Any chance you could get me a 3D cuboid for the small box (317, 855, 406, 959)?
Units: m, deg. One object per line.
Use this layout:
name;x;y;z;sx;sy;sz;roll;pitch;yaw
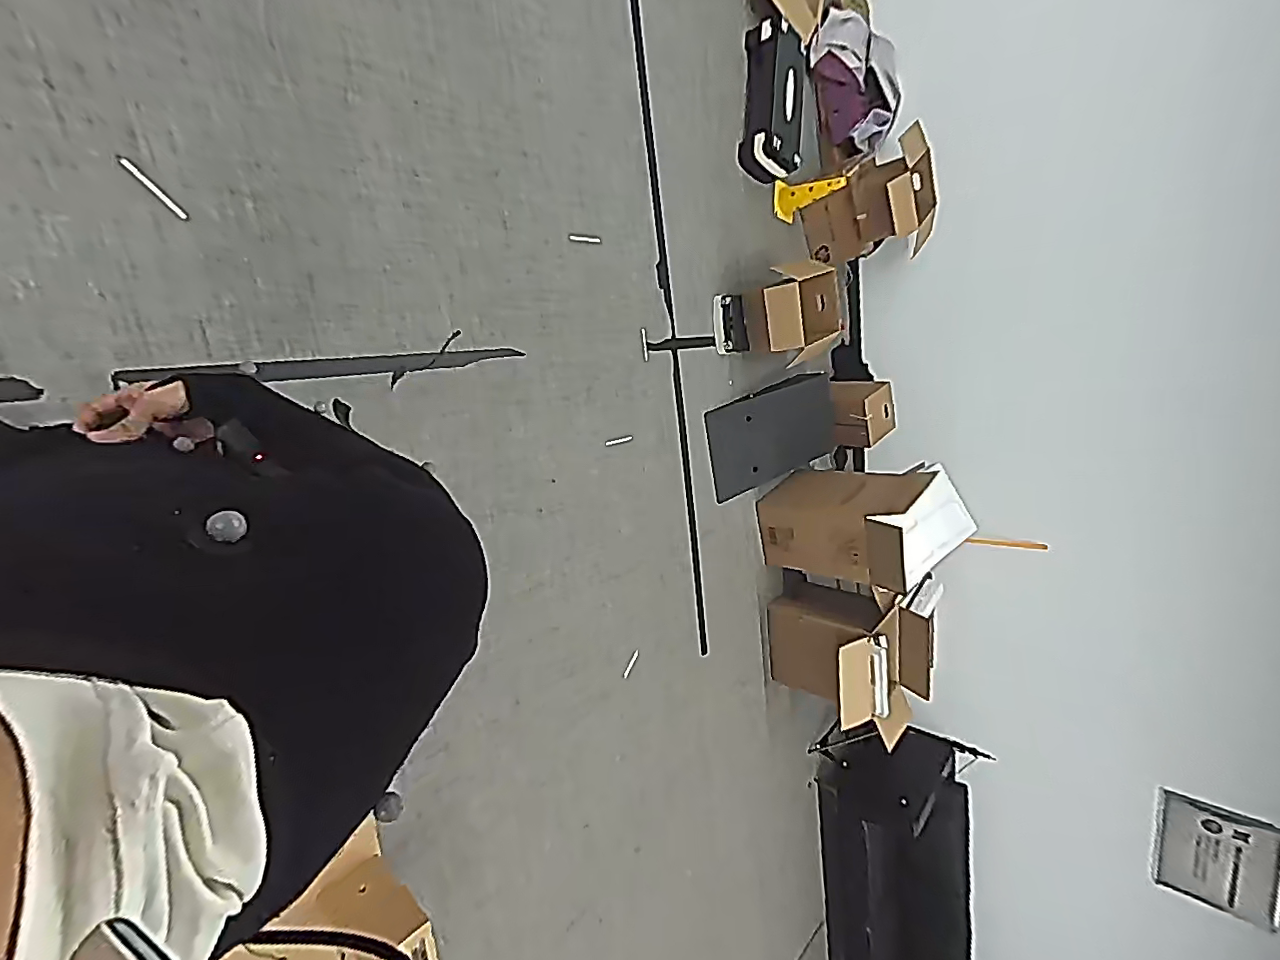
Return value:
small box;-0.810;1.249;1.564;0.179;0.176;0.168;-18;107;-45
